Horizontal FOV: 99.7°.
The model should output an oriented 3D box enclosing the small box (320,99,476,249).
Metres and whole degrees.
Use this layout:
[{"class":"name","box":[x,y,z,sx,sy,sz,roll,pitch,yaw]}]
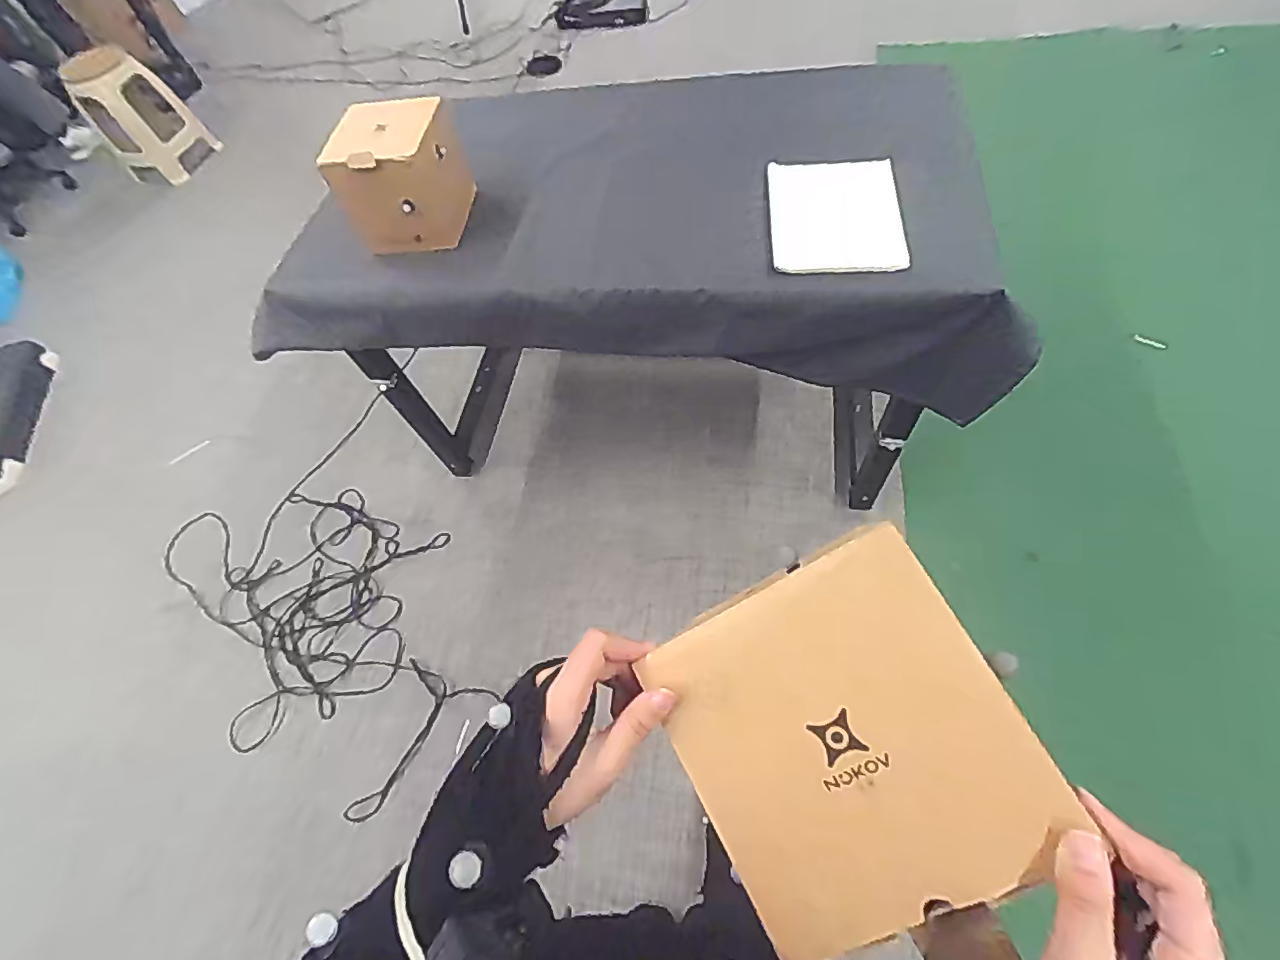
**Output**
[{"class":"small box","box":[-0.405,-0.523,0.942,0.168,0.176,0.179,0,60,7]}]
